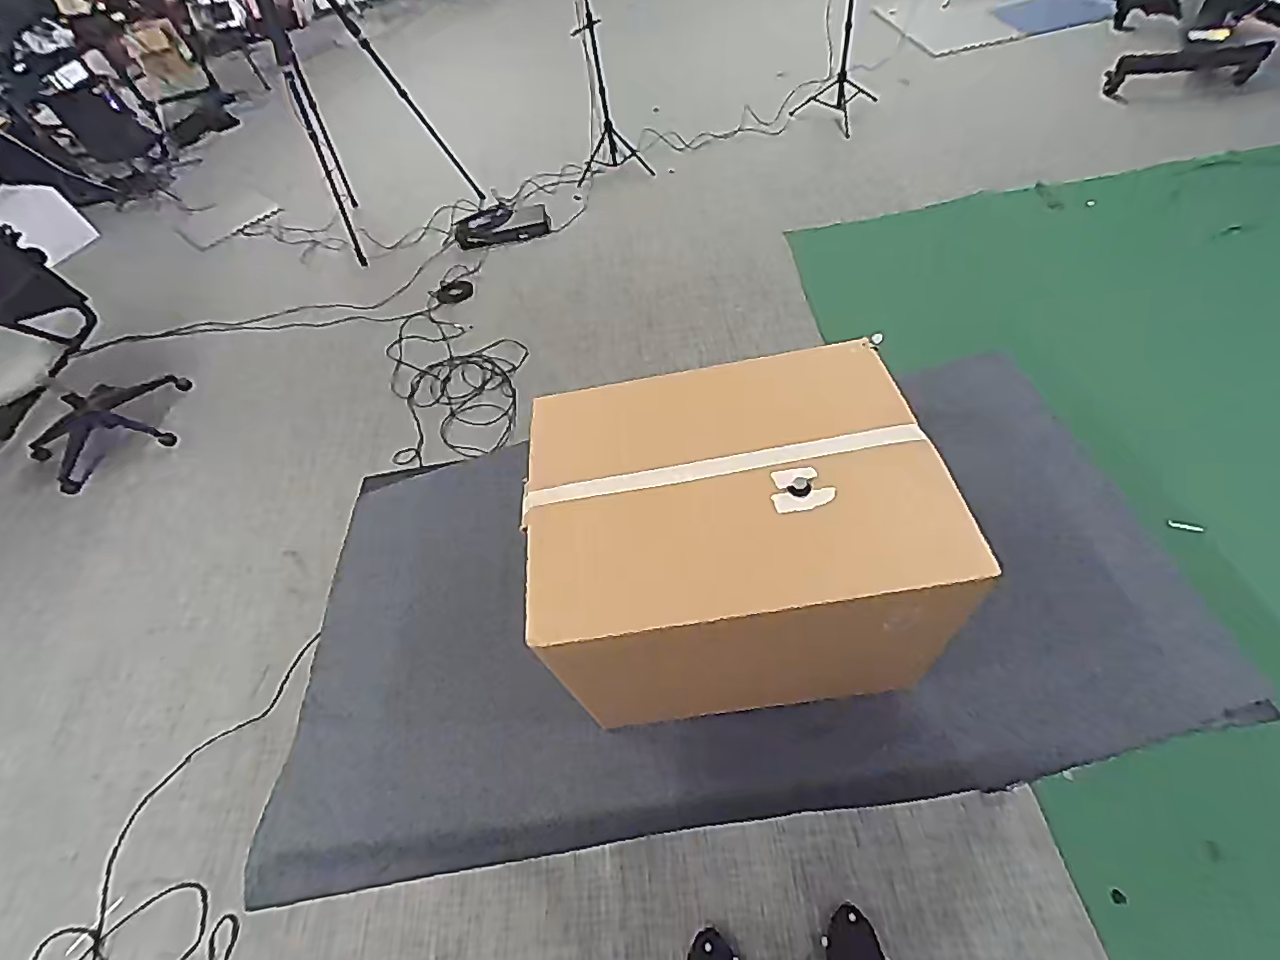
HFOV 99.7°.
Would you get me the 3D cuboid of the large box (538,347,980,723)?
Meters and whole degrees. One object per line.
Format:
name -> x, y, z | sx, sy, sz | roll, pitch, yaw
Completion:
large box -> 0.107, 0.083, 0.683 | 0.408, 0.320, 0.320 | -10, 53, 3
